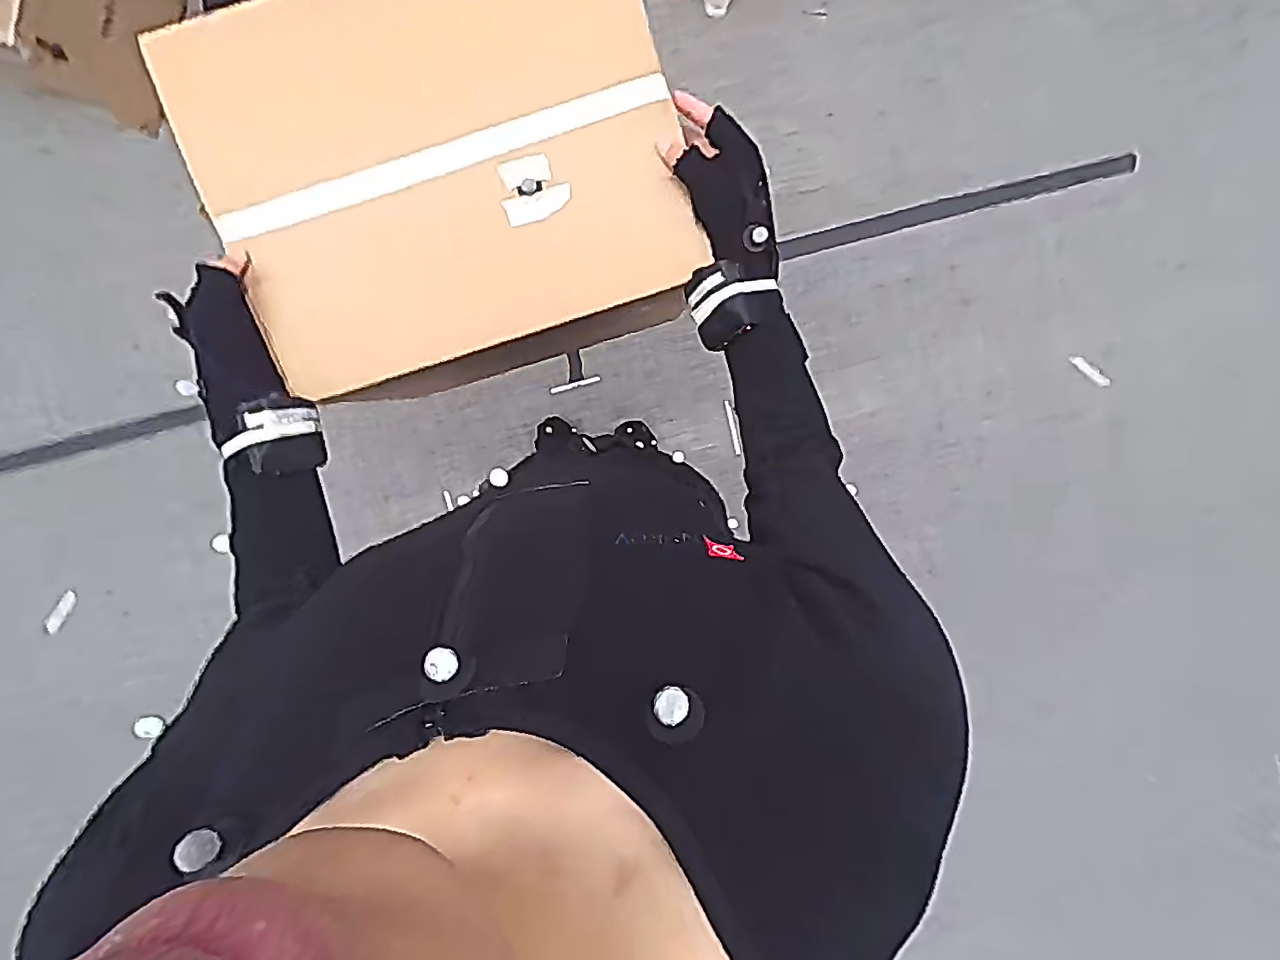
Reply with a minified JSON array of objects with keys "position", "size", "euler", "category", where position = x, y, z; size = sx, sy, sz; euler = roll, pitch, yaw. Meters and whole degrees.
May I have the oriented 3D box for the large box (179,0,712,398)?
[{"position":[-0.172,-0.303,0.631],"size":[0.408,0.320,0.320],"euler":[-18,100,1],"category":"large box"}]
